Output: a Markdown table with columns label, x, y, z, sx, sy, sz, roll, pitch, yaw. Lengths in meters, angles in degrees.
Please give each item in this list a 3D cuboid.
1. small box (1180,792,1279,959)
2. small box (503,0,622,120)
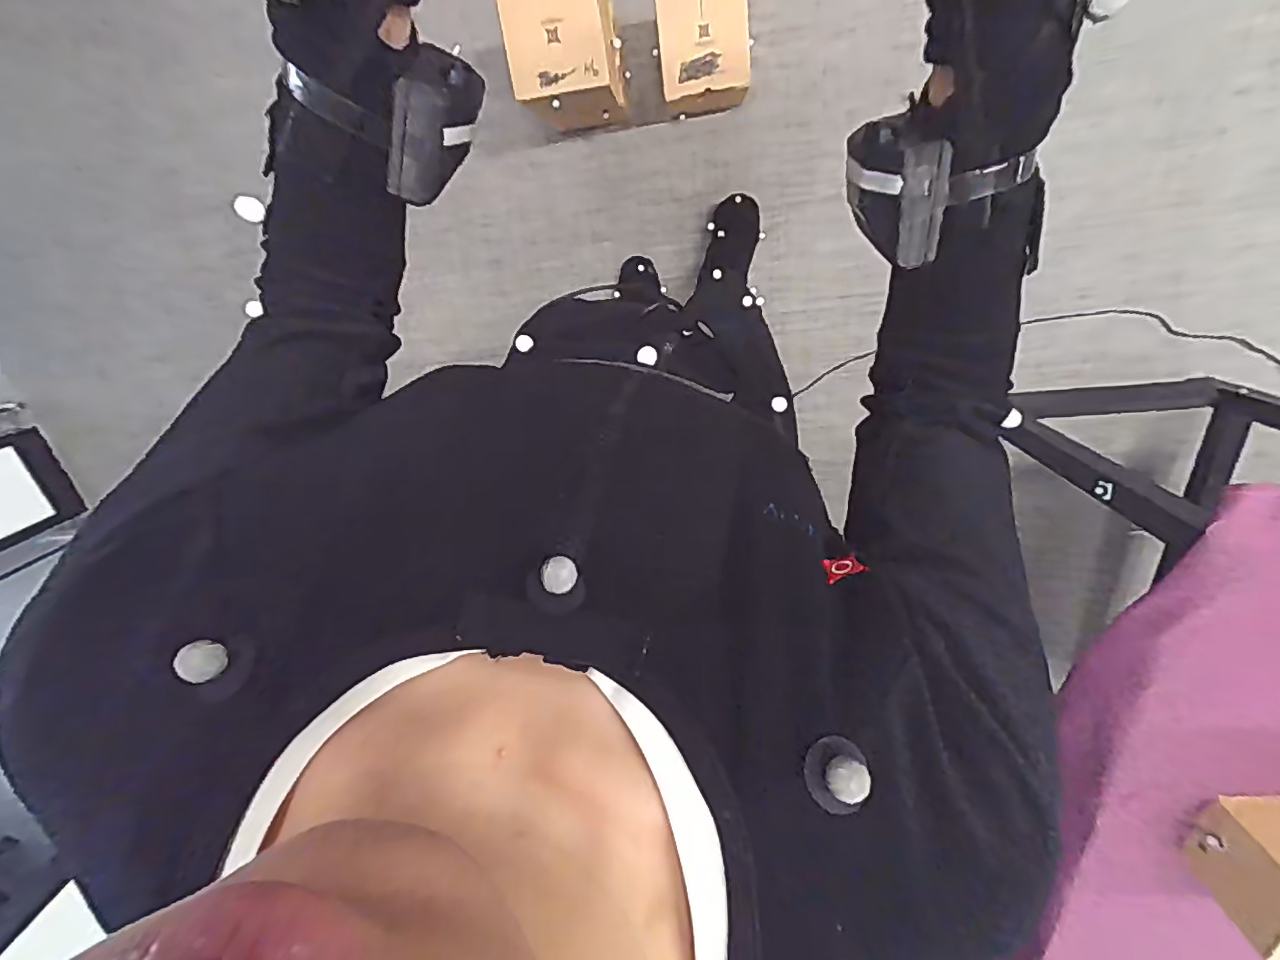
| label | x | y | z | sx | sy | sz | roll | pitch | yaw |
| --- | --- | --- | --- | --- | --- | --- | --- | --- | --- |
| small box | 1.045 | 0.629 | 0.860 | 0.179 | 0.176 | 0.168 | 1 | 114 | 5 |
| small box | -0.128 | -0.762 | 0.947 | 0.168 | 0.176 | 0.179 | -5 | 113 | 7 |
